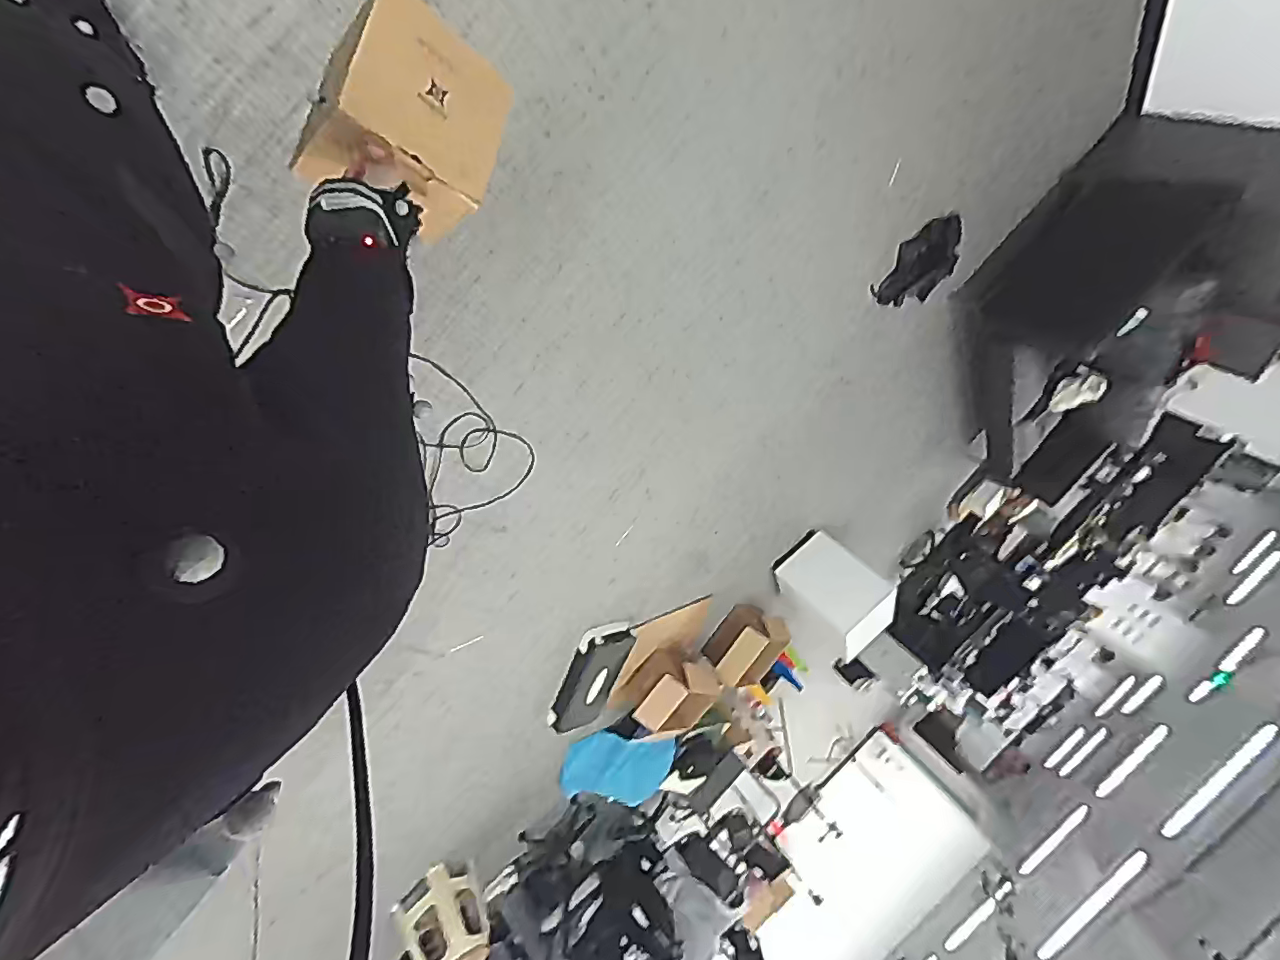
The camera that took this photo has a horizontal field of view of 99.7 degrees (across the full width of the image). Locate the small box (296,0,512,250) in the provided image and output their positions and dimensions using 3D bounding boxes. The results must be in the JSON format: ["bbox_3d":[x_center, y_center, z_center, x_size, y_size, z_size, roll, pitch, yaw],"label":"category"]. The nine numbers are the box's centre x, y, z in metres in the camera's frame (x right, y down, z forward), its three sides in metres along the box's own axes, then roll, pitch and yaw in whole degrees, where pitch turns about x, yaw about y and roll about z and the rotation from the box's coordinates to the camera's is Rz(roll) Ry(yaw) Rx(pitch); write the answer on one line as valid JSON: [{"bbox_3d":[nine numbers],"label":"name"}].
[{"bbox_3d":[-0.287,-0.414,0.656,0.168,0.176,0.179,24,71,-45],"label":"small box"}]
